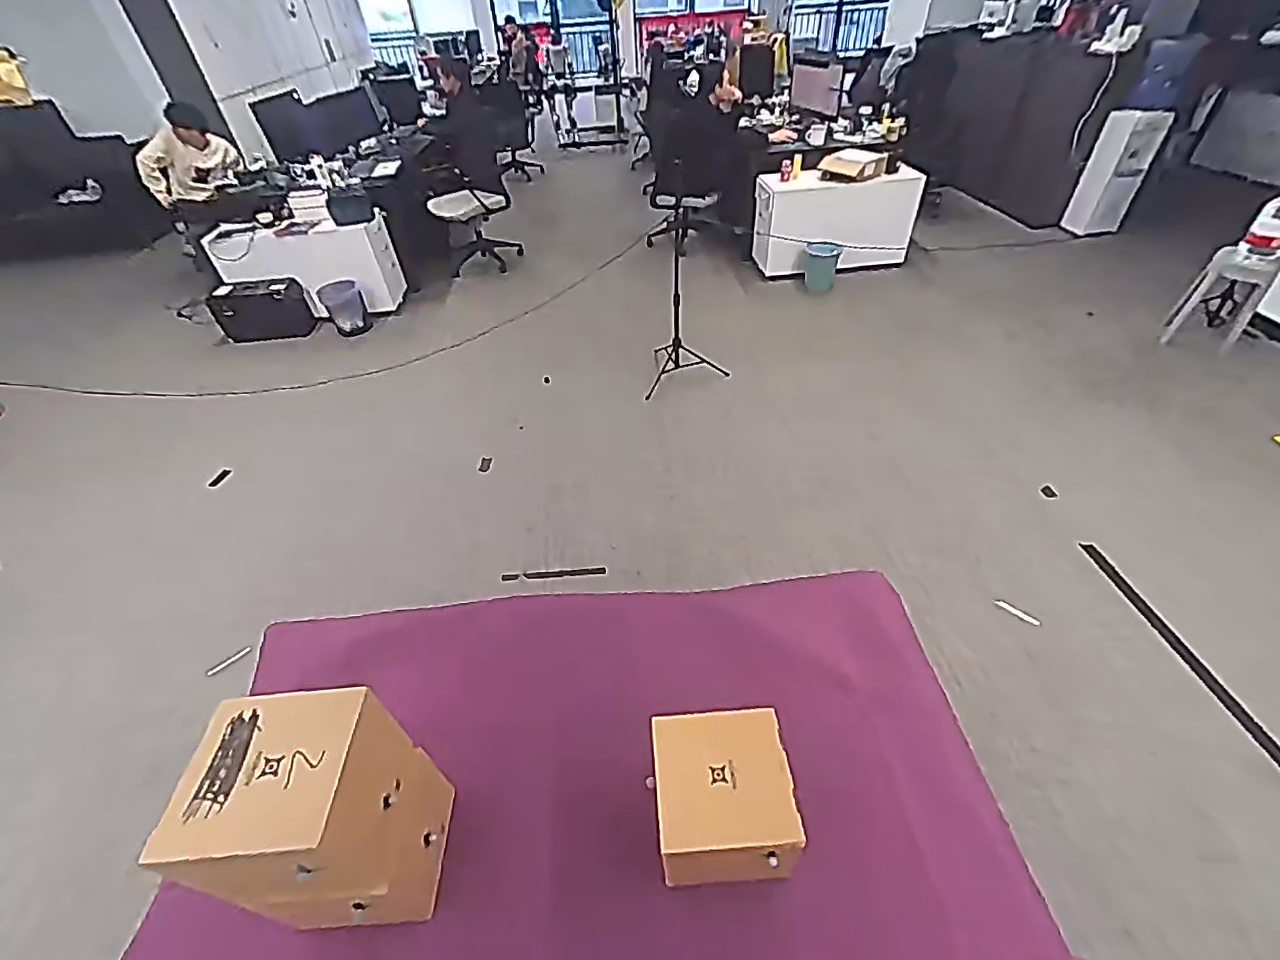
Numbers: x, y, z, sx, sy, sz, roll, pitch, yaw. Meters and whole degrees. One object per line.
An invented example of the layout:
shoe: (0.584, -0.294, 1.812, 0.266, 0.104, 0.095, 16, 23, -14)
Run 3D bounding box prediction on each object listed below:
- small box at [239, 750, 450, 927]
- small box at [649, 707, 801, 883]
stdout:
small box: (-0.378, 0.488, 0.736, 0.179, 0.176, 0.168, -4, 42, 0)
small box: (0.108, 0.439, 0.751, 0.179, 0.176, 0.168, -4, 42, 0)
